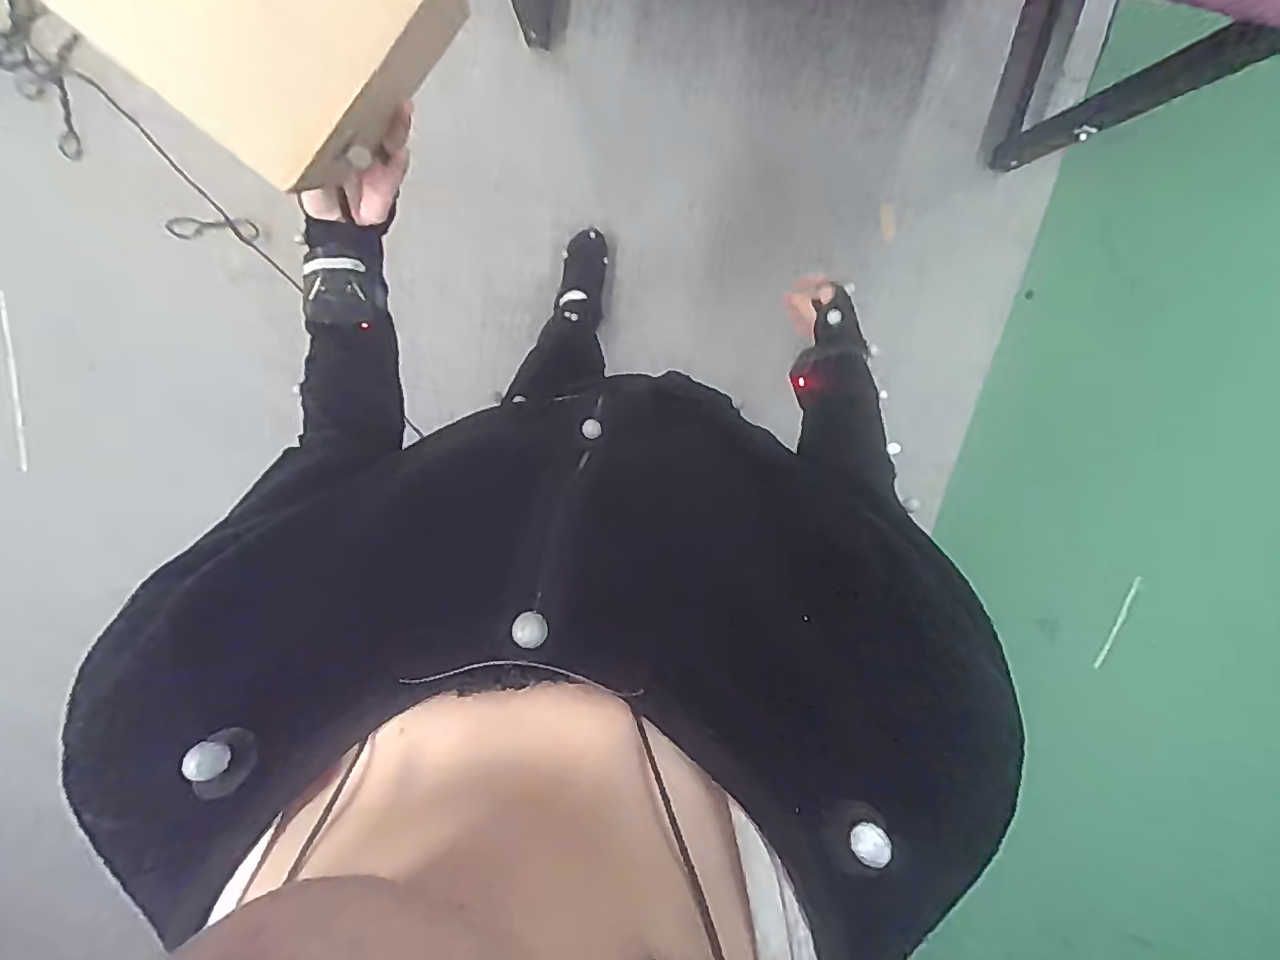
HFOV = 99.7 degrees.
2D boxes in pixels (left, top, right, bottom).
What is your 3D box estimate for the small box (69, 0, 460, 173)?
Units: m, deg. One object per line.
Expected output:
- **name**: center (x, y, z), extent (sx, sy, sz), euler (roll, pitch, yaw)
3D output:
- **small box**: center (-0.227, -0.320, 0.326), extent (0.176, 0.179, 0.168), euler (-44, 122, 11)
